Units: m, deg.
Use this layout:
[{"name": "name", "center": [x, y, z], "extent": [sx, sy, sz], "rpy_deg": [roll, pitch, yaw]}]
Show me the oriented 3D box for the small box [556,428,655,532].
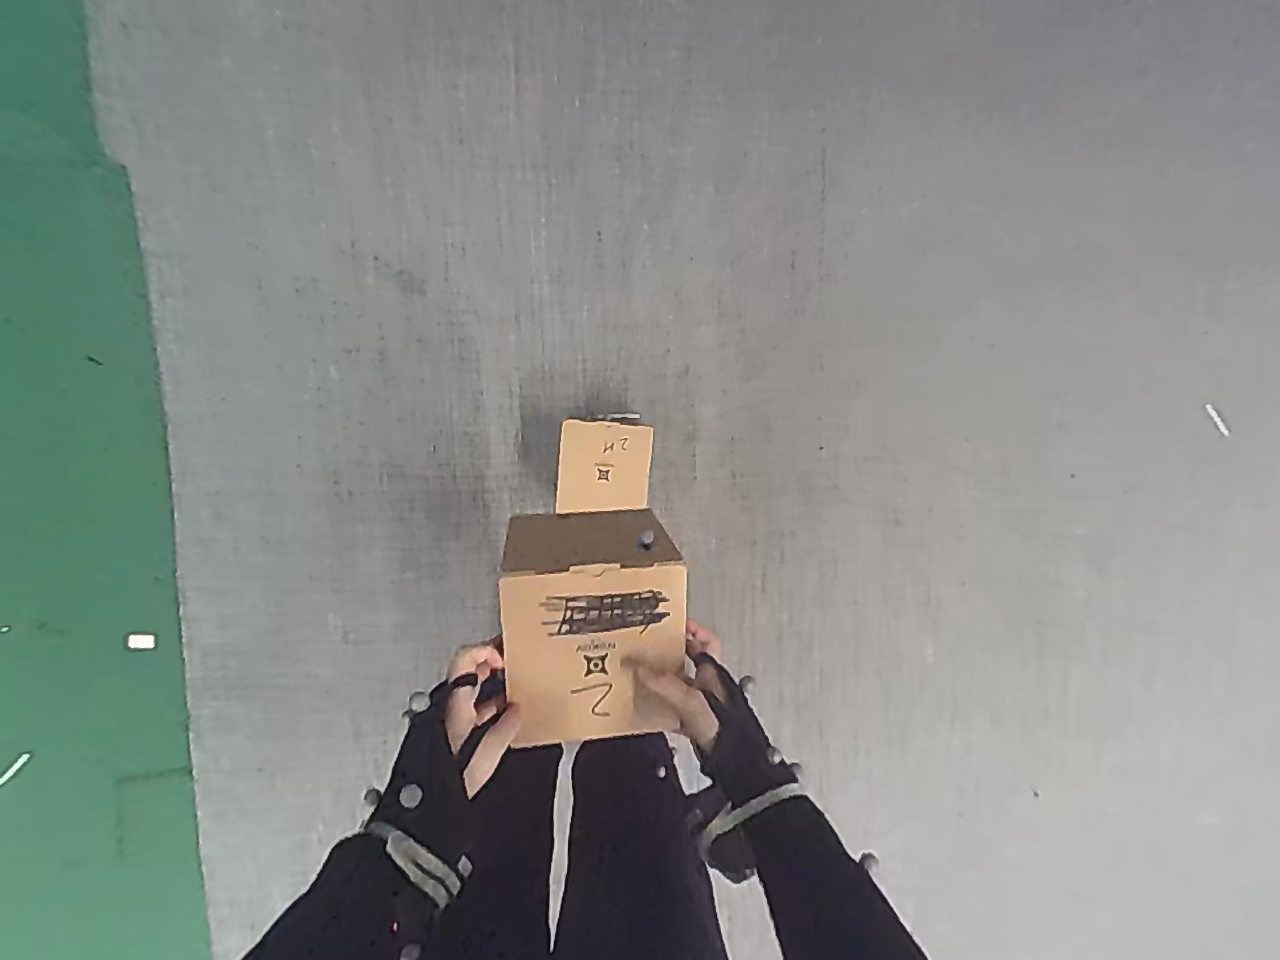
[{"name": "small box", "center": [-0.068, -0.006, 1.051], "extent": [0.168, 0.176, 0.179], "rpy_deg": [5, 94, -6]}]
